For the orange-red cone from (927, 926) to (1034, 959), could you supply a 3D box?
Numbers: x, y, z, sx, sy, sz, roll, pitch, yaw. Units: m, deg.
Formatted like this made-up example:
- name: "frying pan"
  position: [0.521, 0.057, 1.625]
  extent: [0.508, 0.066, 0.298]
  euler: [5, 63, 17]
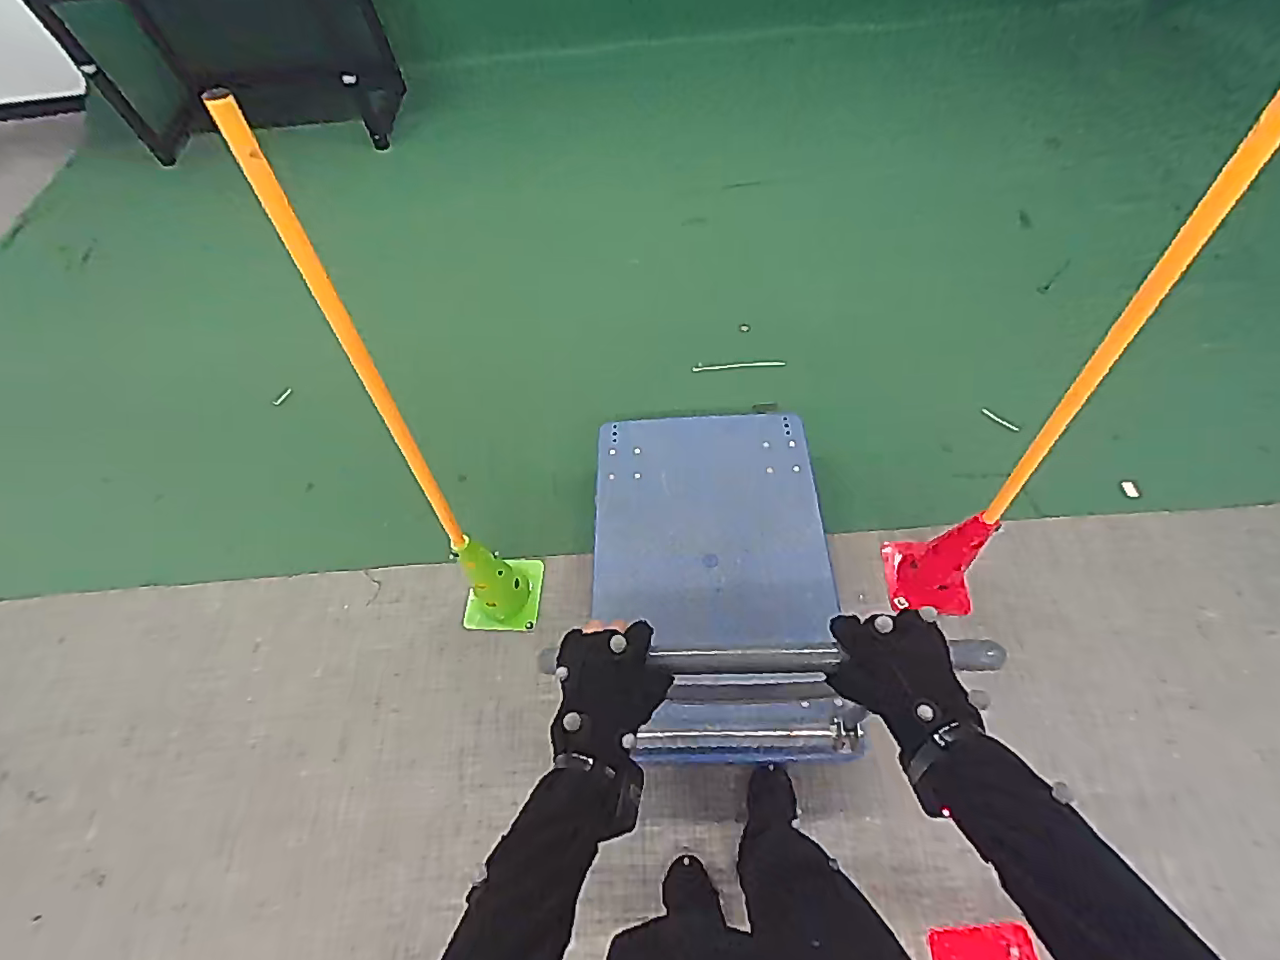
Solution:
- name: "orange-red cone"
  position: [0.654, 0.891, 0.885]
  extent: [0.199, 0.360, 0.198]
  euler: [-6, 59, 4]

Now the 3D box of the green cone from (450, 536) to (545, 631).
- name: "green cone"
  position: [-0.386, 0.231, 1.358]
  extent: [0.202, 0.368, 0.200]
  euler: [0, 59, 5]
